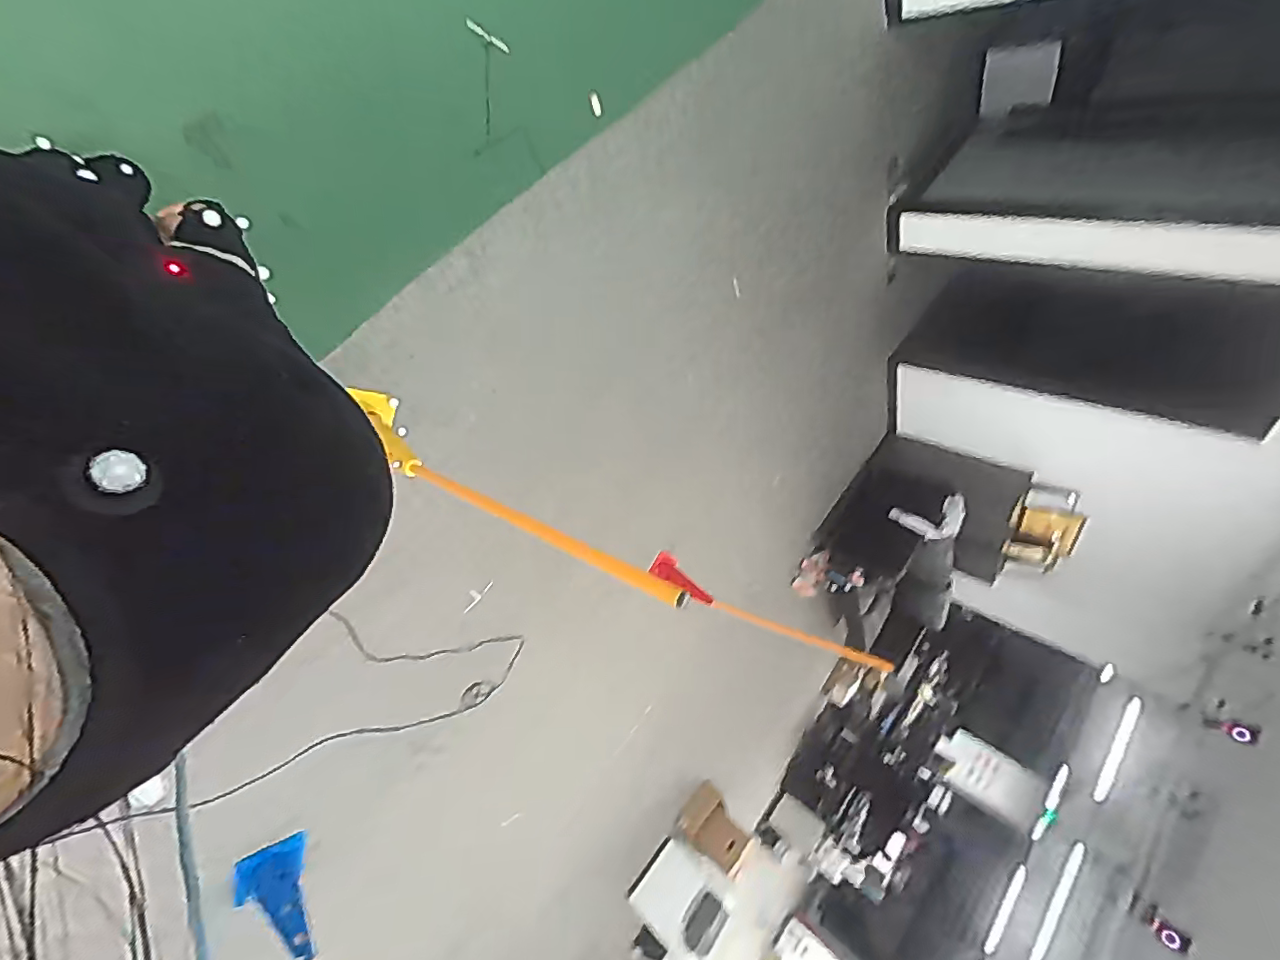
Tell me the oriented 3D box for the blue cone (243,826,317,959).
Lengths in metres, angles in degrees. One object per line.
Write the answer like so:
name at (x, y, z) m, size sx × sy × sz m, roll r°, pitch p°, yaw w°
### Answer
blue cone at (-1.095, 1.321, 1.706) m, size 0.192 × 0.380 × 0.193 m, roll -8°, pitch 119°, yaw -48°
